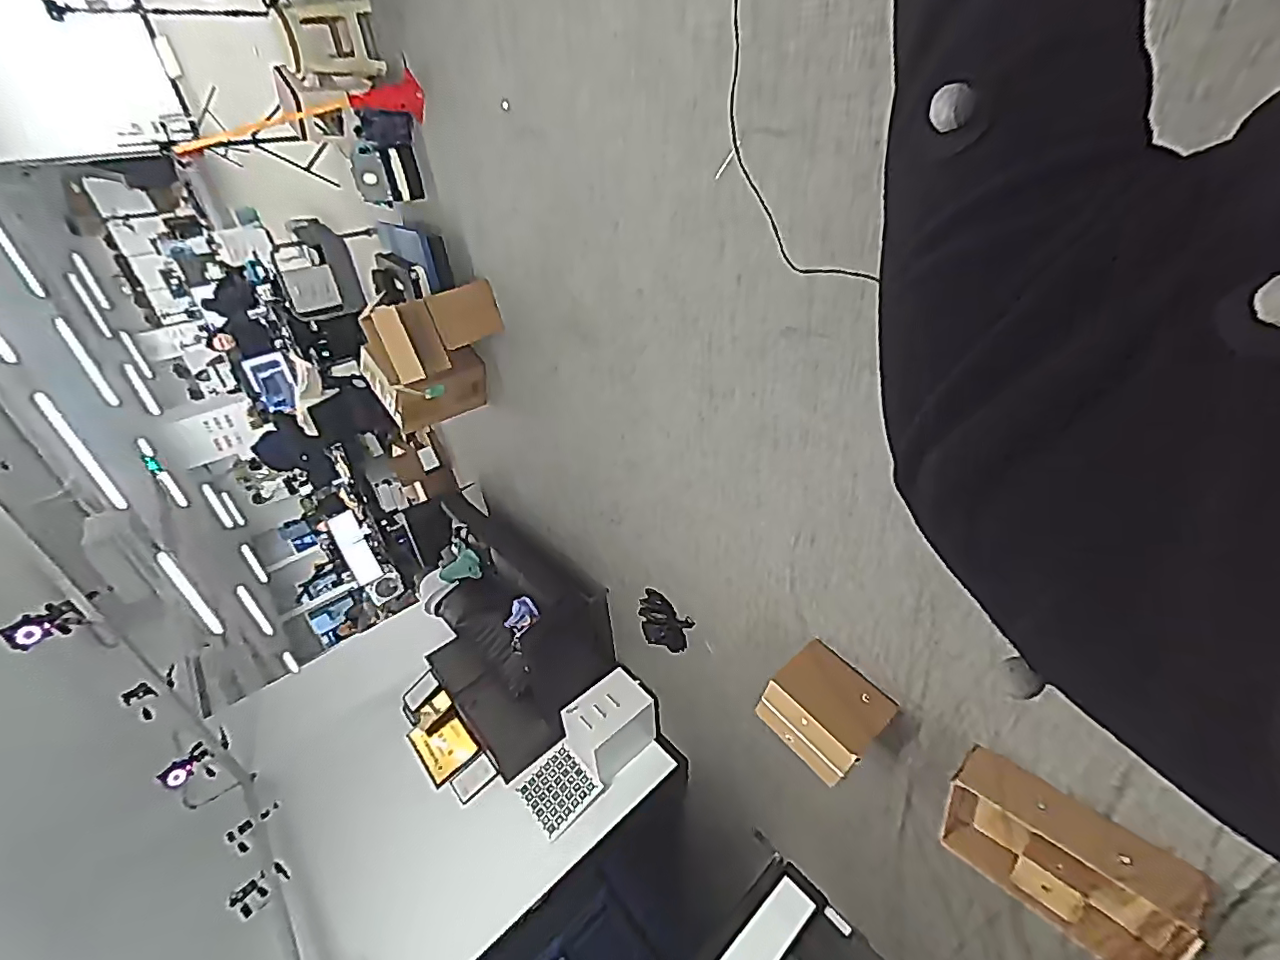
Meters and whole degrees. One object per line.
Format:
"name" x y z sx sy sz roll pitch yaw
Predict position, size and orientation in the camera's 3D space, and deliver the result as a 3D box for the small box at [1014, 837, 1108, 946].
"small box" 1.310 1.271 1.682 0.179 0.176 0.168 26 133 46
